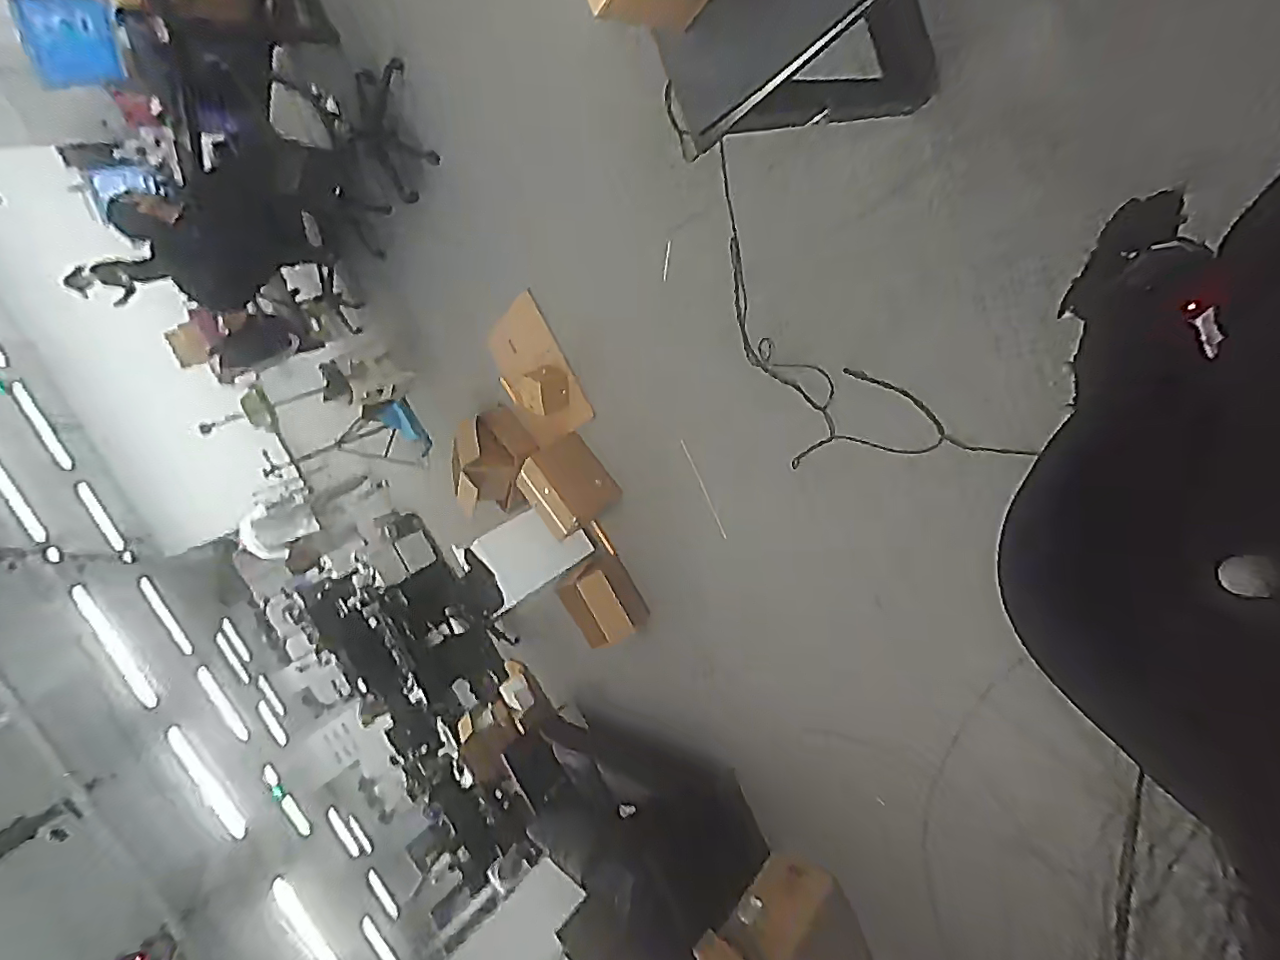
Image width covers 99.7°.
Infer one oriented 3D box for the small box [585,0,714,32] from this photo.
[{"bbox_3d":[0.017,-0.681,0.639,0.168,0.176,0.179,-15,102,53],"label":"small box"}]
